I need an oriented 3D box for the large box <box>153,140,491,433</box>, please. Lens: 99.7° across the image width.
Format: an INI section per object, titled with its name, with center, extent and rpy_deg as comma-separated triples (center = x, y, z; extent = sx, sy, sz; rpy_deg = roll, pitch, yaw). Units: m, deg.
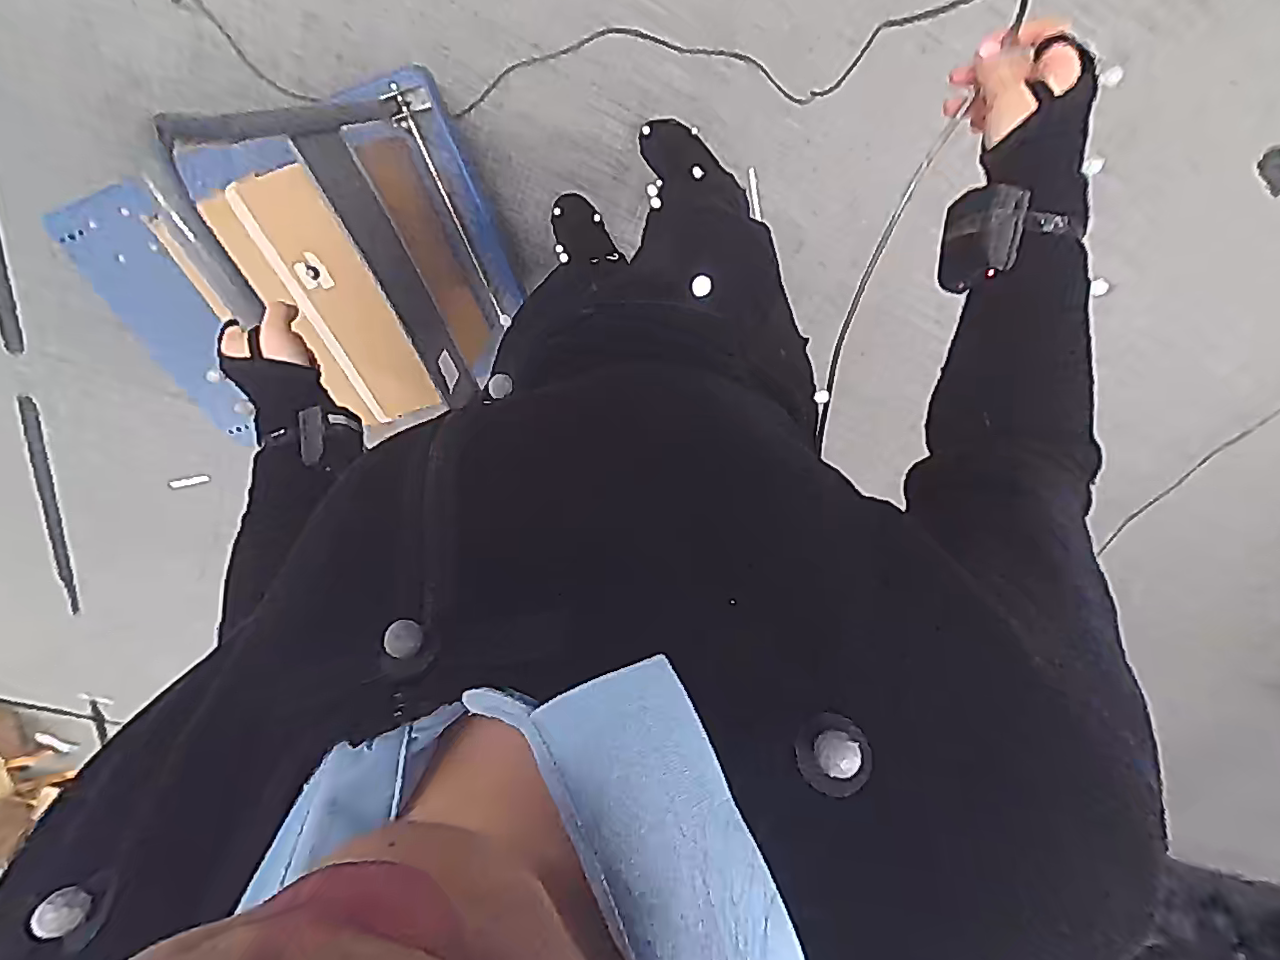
[large box]
center = -0.535, -0.362, 1.021
extent = 0.320, 0.320, 0.408
rpy_deg = -14, 125, 9
